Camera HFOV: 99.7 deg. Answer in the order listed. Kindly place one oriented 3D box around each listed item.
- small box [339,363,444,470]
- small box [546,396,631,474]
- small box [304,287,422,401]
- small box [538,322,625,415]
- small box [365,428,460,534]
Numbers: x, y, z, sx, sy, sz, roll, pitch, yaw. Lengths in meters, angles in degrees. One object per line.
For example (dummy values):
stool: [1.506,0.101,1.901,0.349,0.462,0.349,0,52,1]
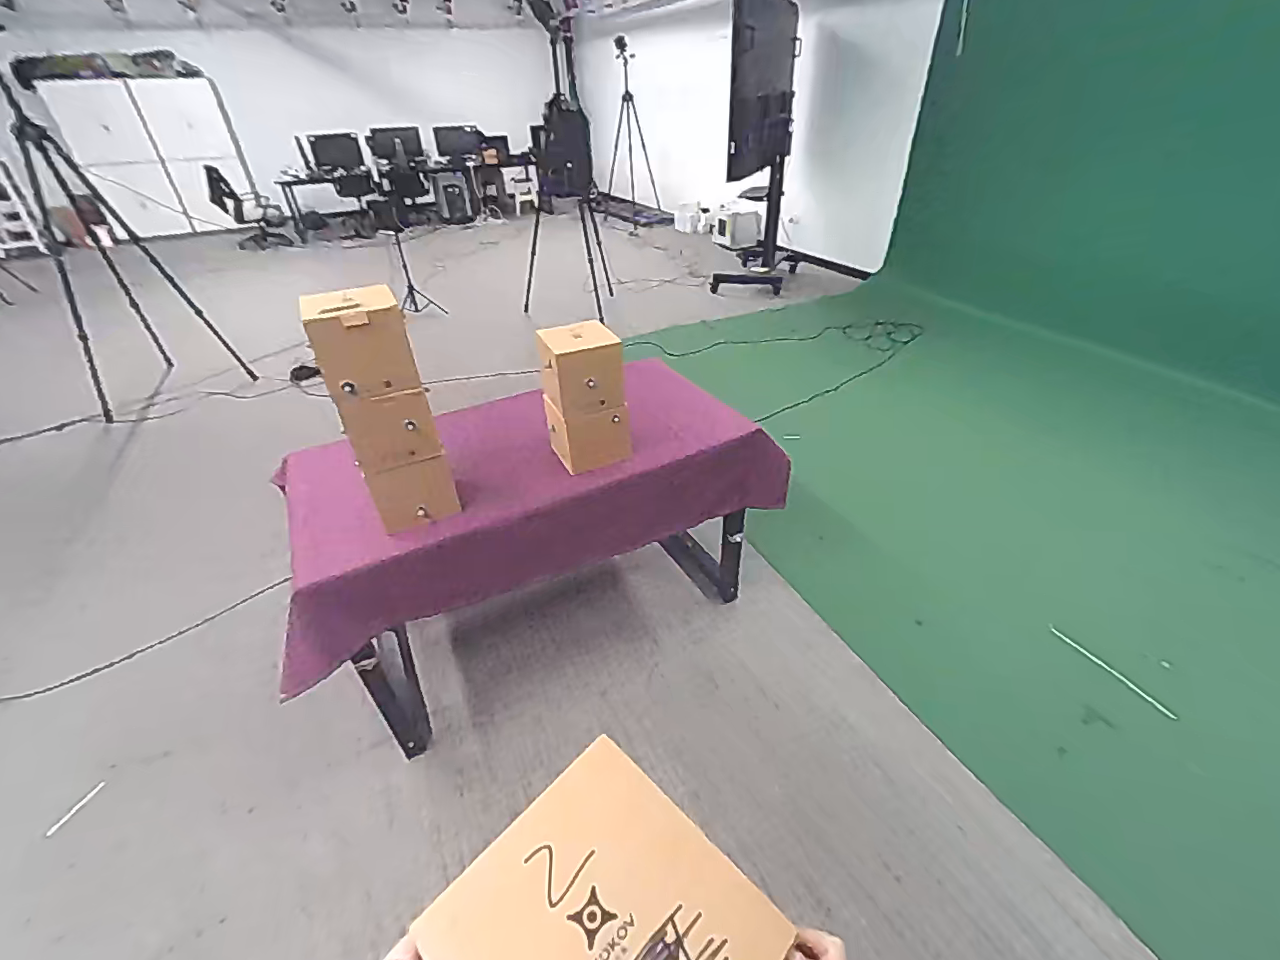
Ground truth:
small box: [-0.540,-0.137,1.182,0.168,0.176,0.179,-16,37,-19]
small box: [-0.134,-0.137,1.438,0.179,0.176,0.168,-17,38,-20]
small box: [-0.555,-0.272,1.089,0.168,0.176,0.179,-19,37,-22]
small box: [-0.144,-0.274,1.346,0.168,0.176,0.179,-16,37,-18]
small box: [-0.533,-0.001,1.272,0.179,0.176,0.168,-18,38,-21]
